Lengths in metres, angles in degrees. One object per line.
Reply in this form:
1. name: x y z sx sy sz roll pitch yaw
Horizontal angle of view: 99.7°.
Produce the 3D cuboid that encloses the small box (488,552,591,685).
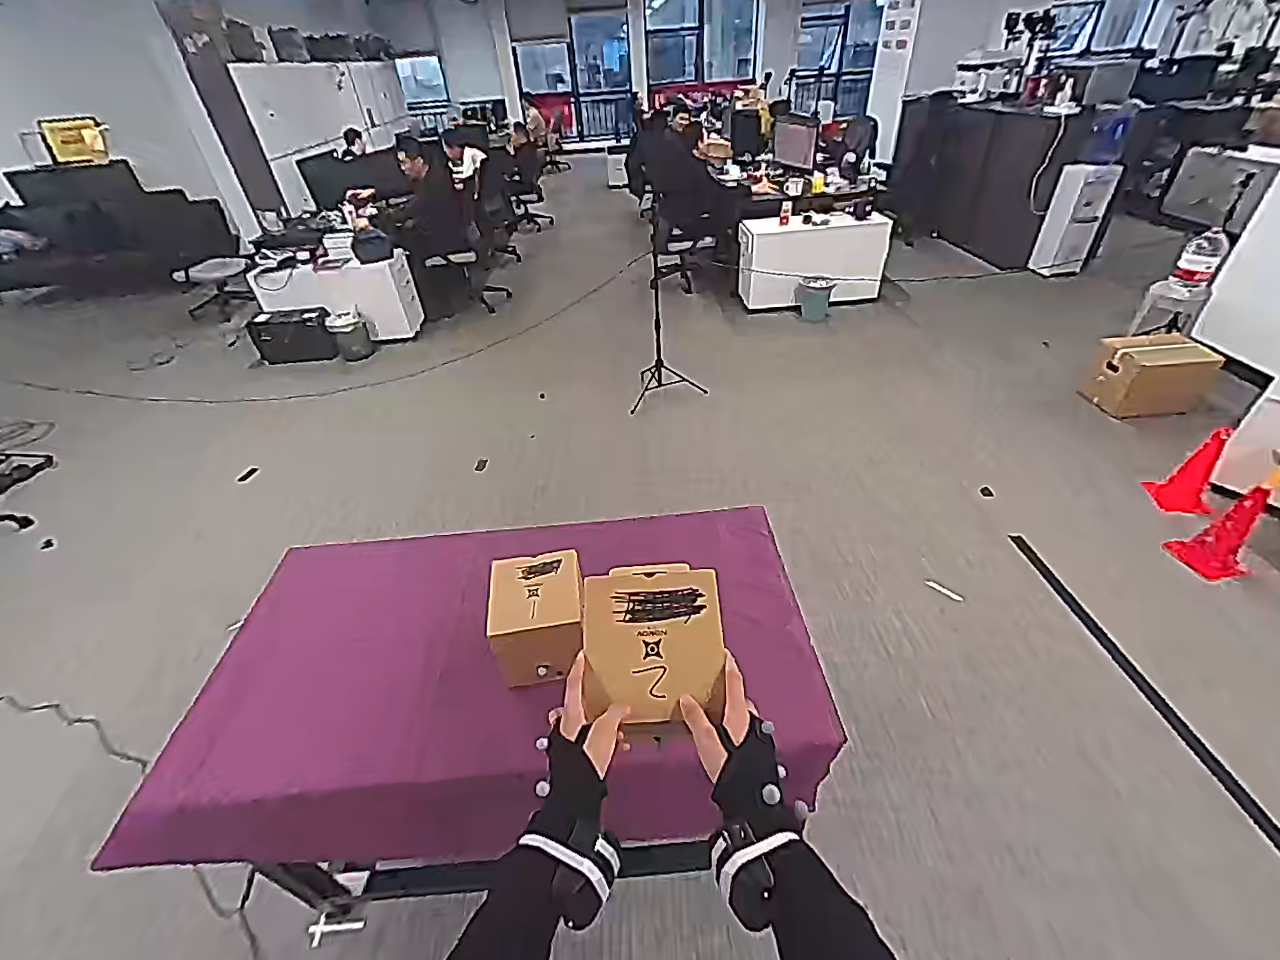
1. small box: -0.190 0.268 1.054 0.168 0.176 0.179 -8 39 -4
